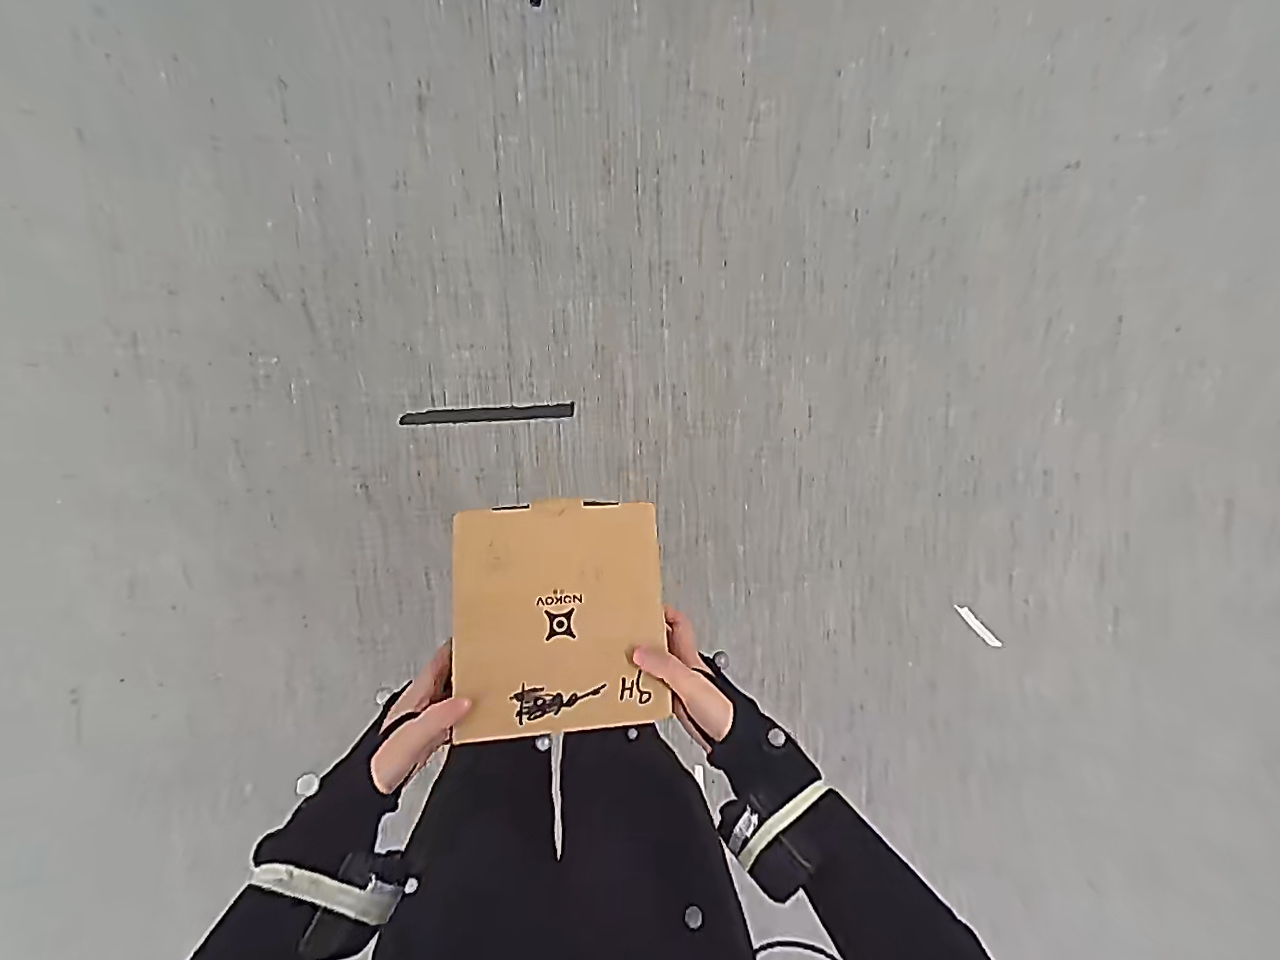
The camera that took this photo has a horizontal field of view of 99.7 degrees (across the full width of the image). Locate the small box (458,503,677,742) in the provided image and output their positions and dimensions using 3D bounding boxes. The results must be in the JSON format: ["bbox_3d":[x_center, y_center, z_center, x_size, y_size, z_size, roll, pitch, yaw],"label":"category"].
[{"bbox_3d":[-0.069,0.128,0.502,0.168,0.176,0.179,-3,74,-9],"label":"small box"}]
